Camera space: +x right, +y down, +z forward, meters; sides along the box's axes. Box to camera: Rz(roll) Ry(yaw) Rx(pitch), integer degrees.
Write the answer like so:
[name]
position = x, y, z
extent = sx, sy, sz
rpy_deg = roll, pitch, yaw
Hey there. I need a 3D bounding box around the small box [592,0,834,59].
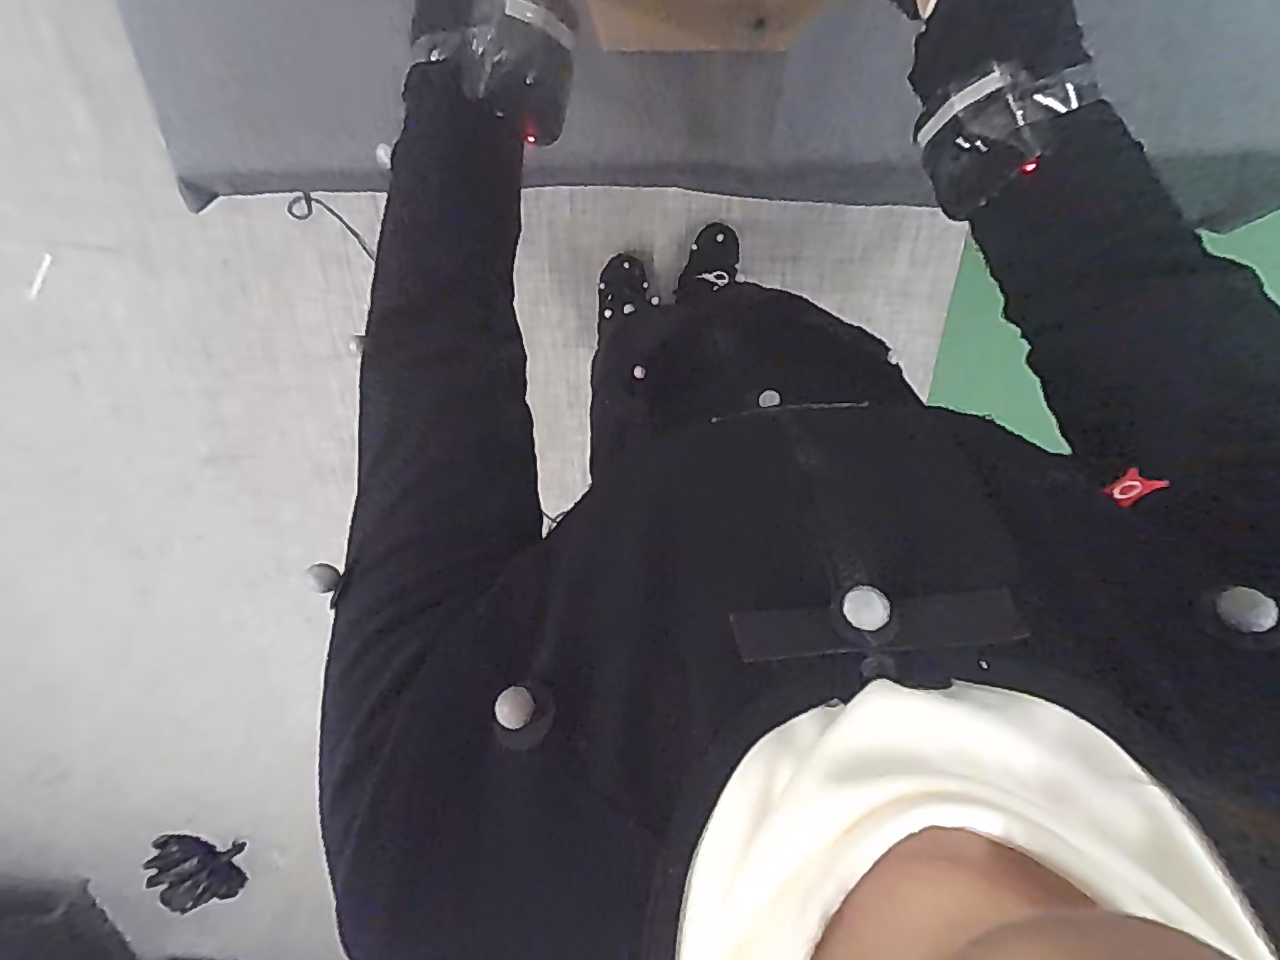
[small box]
position = 0.054, -0.440, 0.406
extent = 0.179, 0.176, 0.168
rpy_deg = 1, 115, 2
